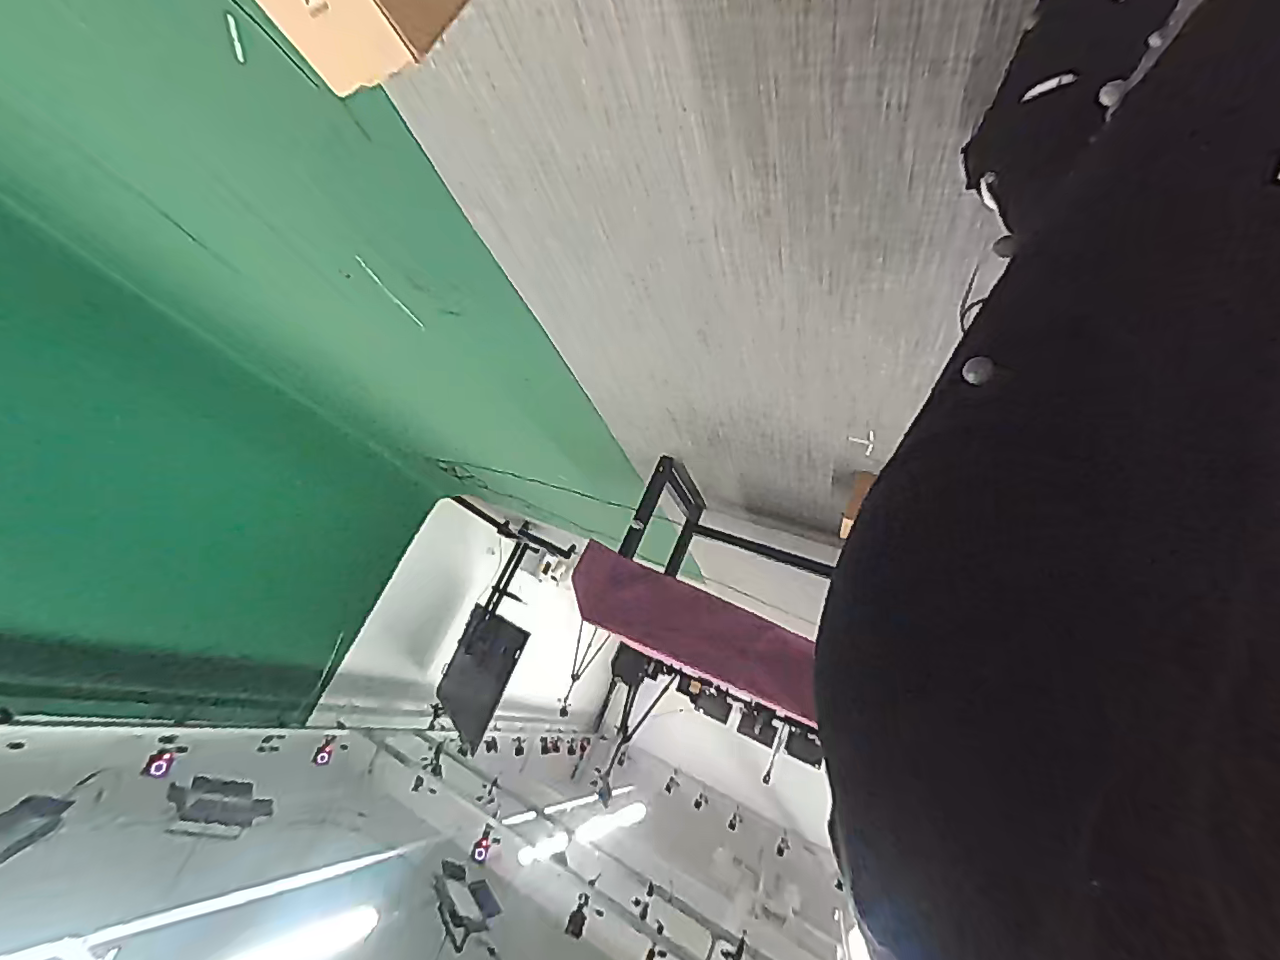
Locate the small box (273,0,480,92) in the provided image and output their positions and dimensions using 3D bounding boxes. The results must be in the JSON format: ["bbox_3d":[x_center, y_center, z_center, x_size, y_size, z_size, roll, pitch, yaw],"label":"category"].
[{"bbox_3d":[-0.287,-0.562,0.568,0.168,0.176,0.179,13,159,33],"label":"small box"}]
